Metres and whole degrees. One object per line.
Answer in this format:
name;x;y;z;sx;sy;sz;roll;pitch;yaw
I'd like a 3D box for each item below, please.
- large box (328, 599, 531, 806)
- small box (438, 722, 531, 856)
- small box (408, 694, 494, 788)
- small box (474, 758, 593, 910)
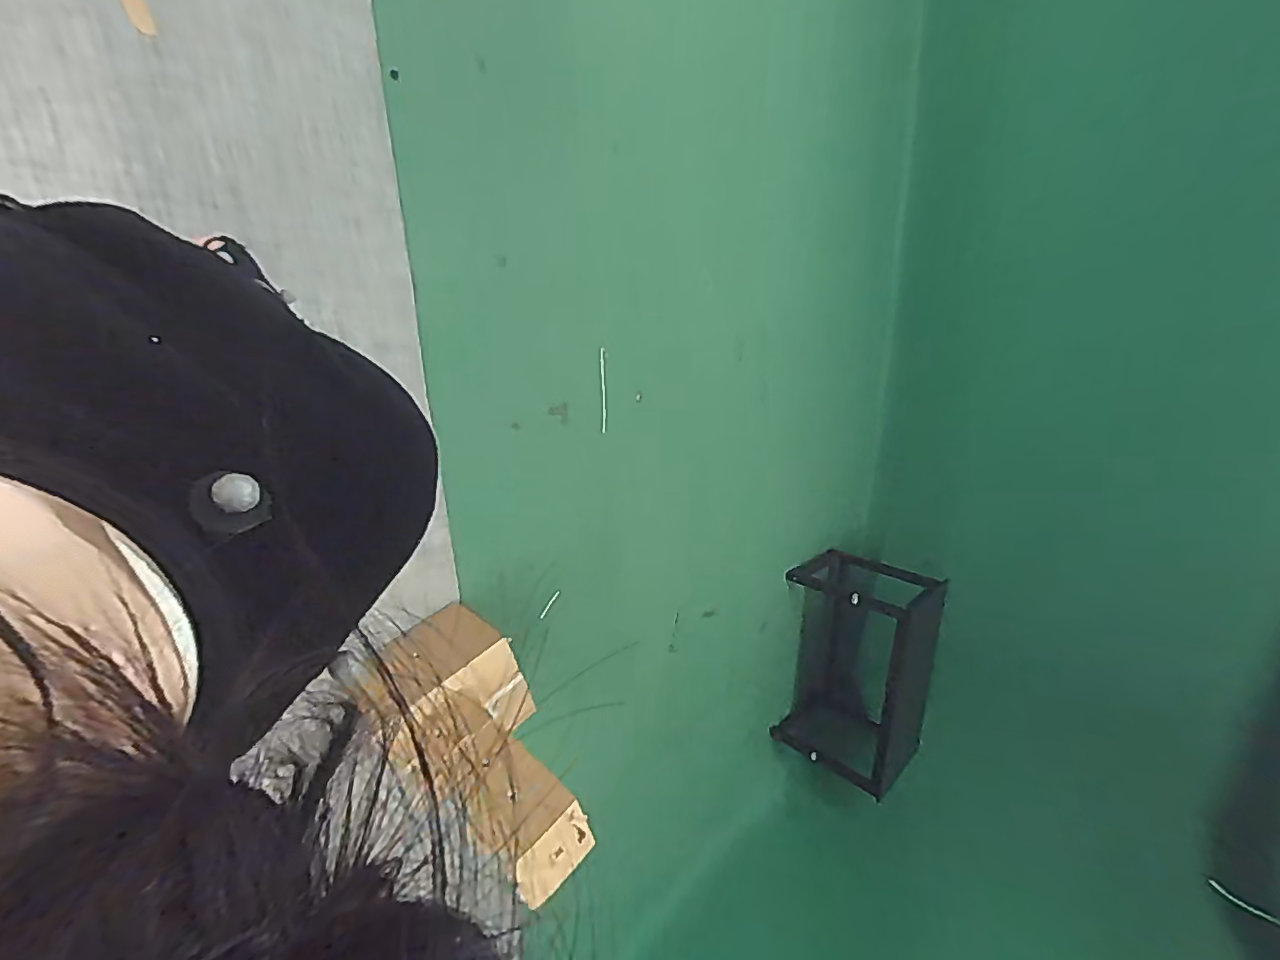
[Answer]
large box;-0.604;0.624;1.584;0.408;0.320;0.320;-34;125;-36
small box;-0.352;0.718;1.275;0.179;0.176;0.168;-34;124;-35
small box;-0.465;0.681;1.388;0.168;0.176;0.179;-32;123;-35
small box;-0.234;0.751;1.165;0.179;0.176;0.168;-32;123;-34
